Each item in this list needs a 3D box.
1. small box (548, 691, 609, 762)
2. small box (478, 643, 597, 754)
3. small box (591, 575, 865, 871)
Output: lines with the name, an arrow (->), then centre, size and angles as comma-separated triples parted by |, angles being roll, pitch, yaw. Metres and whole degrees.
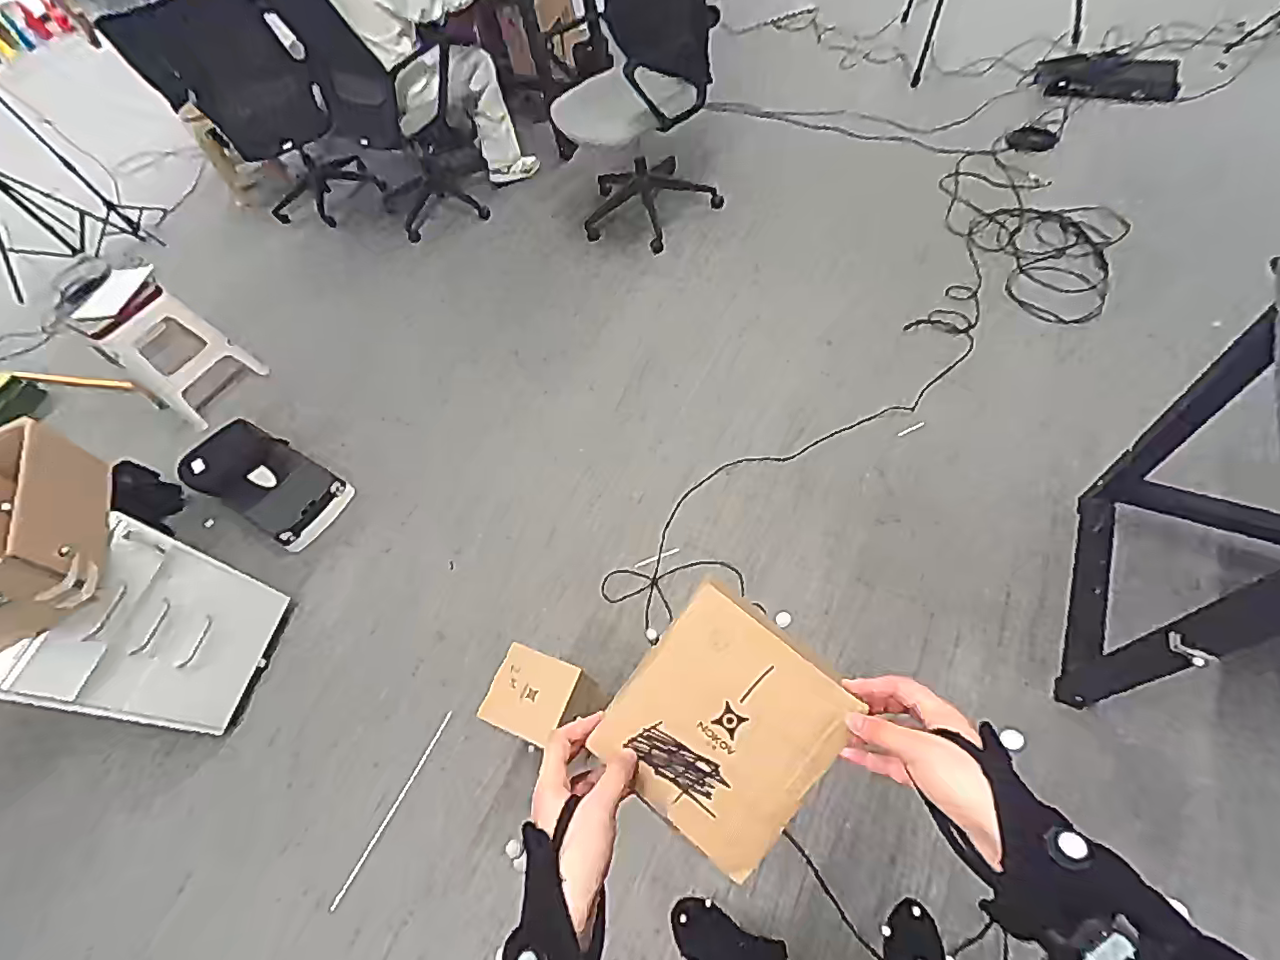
small box -> -0.195, 0.574, 1.329 | 0.179, 0.176, 0.168 | 16, 63, 21
small box -> -0.214, 0.486, 1.191 | 0.179, 0.176, 0.168 | 14, 62, 21
small box -> 0.082, 0.212, 0.529 | 0.168, 0.176, 0.179 | 38, 89, 10
